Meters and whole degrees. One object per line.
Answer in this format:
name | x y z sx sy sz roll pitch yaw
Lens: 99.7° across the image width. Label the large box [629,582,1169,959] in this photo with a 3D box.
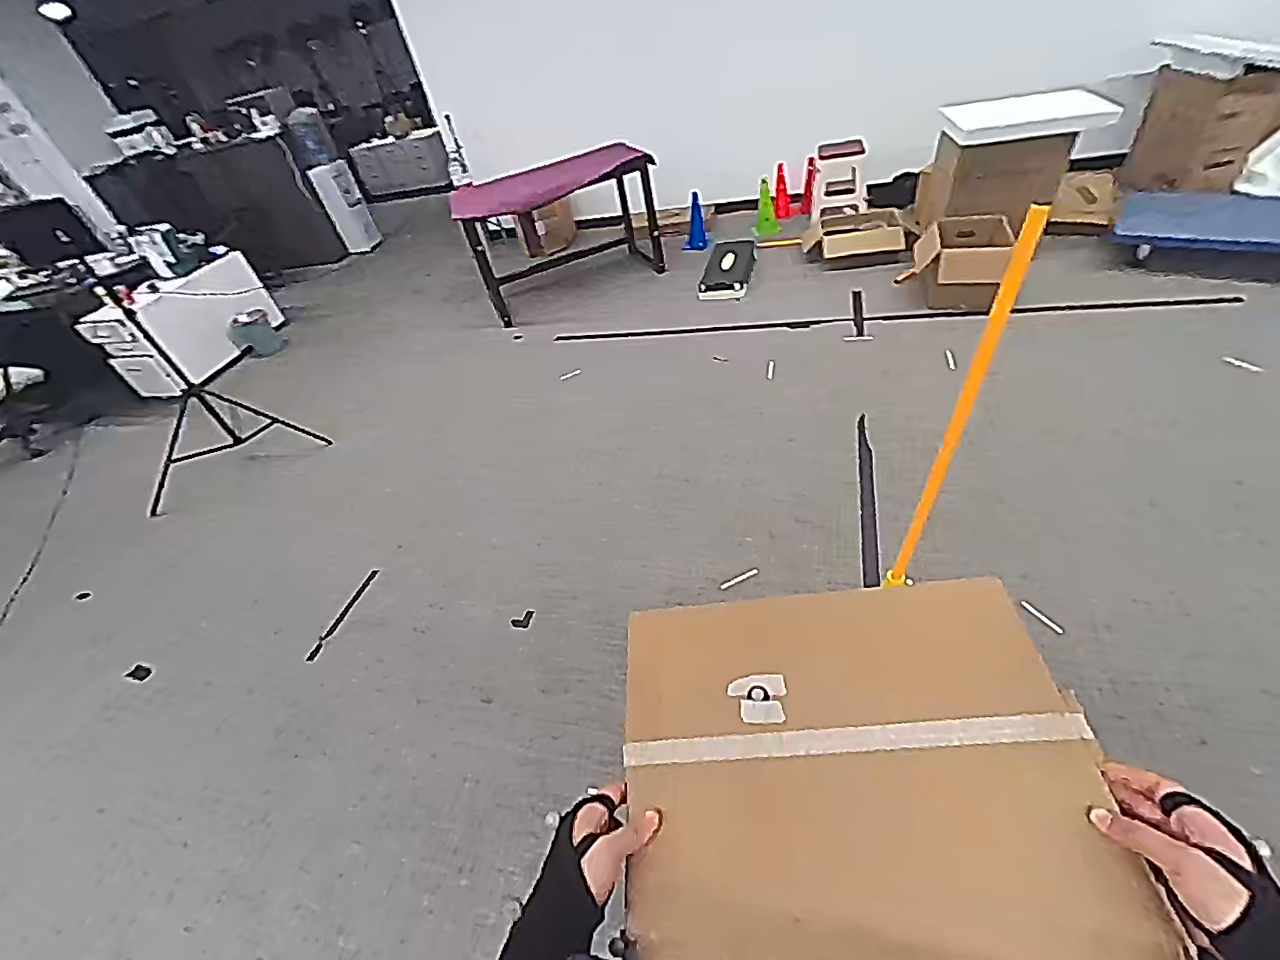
large box | 0.219 0.350 0.620 0.408 0.320 0.320 -9 46 10
